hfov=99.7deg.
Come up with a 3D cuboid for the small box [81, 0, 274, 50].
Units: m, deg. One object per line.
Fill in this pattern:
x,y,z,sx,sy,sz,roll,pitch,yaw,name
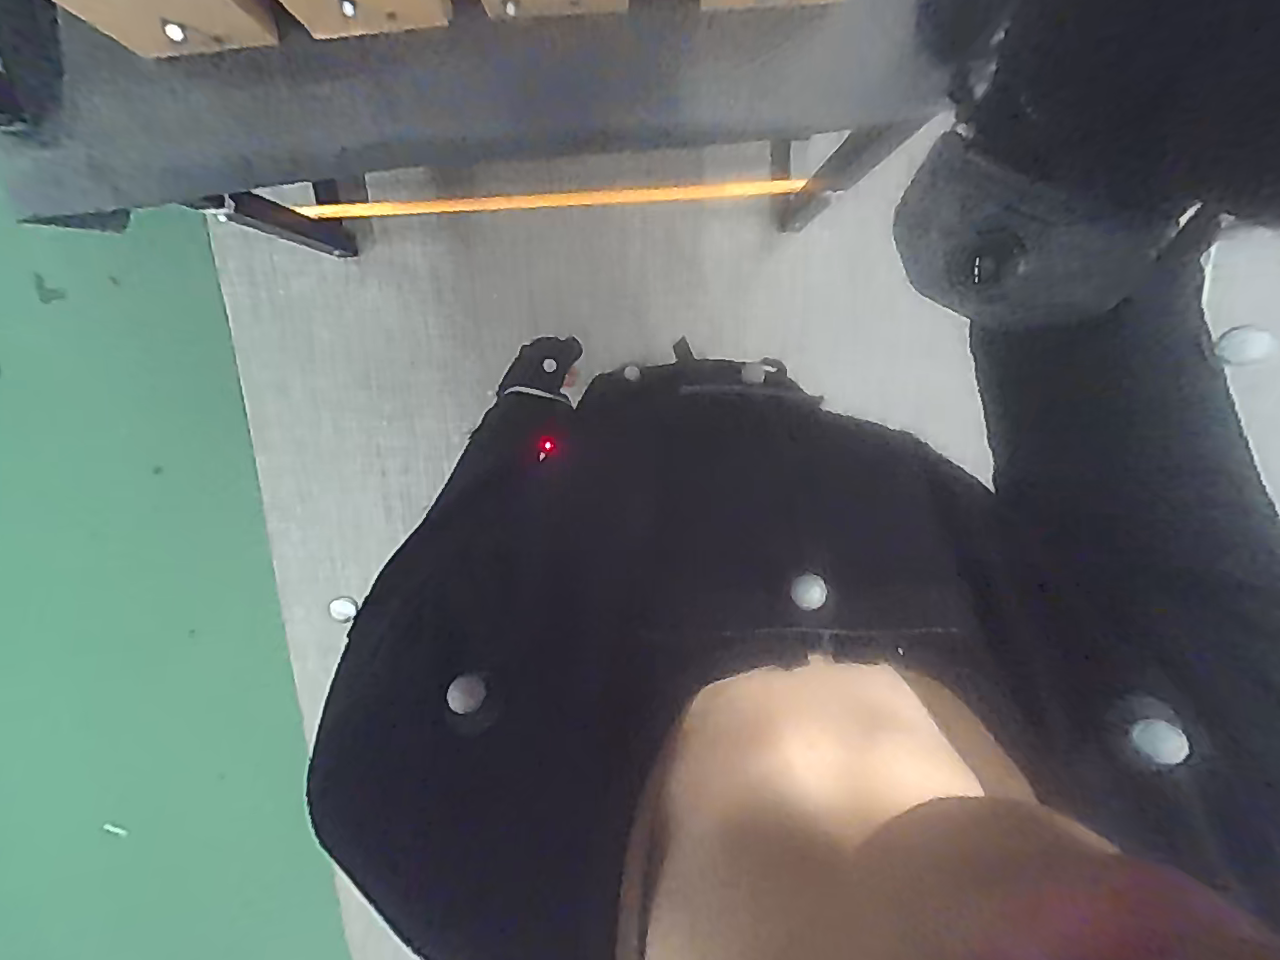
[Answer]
-0.511,-0.580,0.539,0.168,0.176,0.179,-5,102,1,small box
